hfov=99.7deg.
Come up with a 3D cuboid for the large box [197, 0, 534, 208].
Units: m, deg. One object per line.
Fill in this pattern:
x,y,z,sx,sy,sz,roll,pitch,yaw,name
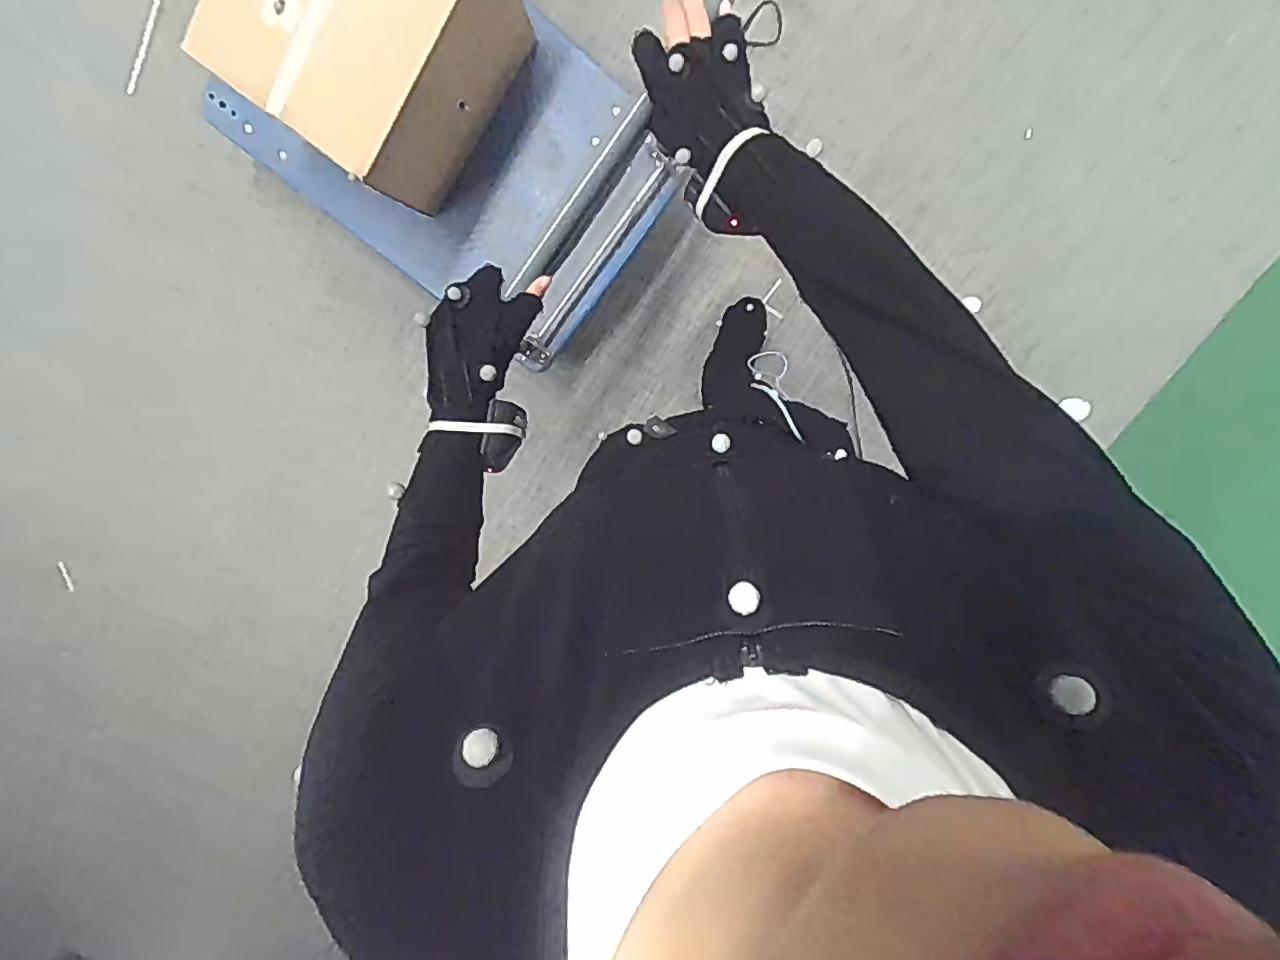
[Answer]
-0.438,-0.771,0.940,0.320,0.320,0.408,35,104,-8,large box
